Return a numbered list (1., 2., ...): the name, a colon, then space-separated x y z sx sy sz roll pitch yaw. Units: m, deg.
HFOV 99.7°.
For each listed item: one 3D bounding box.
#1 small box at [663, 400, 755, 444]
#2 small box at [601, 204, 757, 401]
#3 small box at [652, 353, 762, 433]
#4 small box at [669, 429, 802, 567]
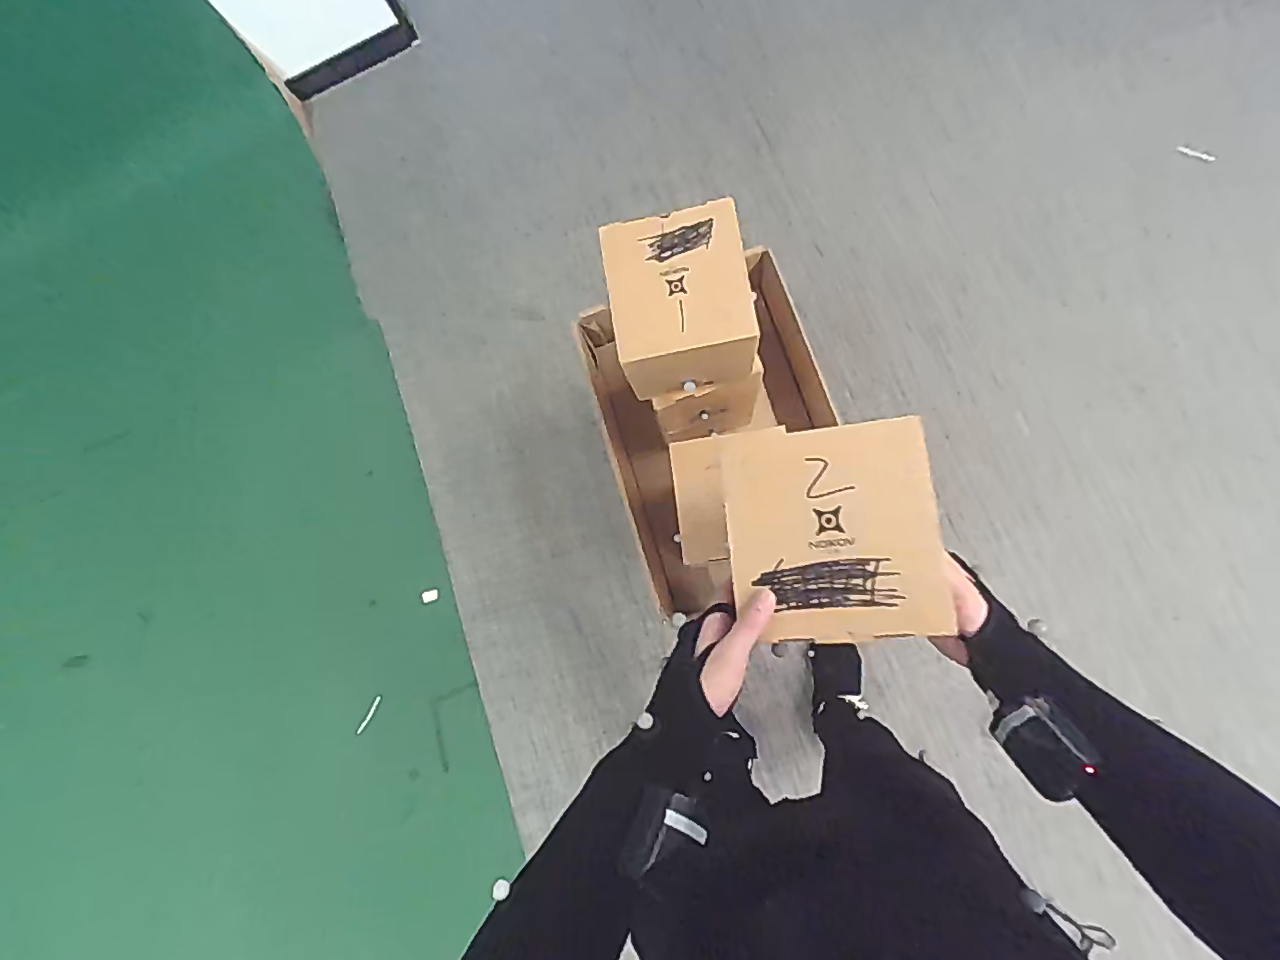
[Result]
1. small box: 0.109 -0.174 1.033 0.168 0.176 0.179 -19 79 7
2. small box: 0.053 -0.221 0.715 0.168 0.176 0.179 -10 82 8
3. small box: 0.084 -0.195 0.874 0.168 0.176 0.179 -19 80 5
4. small box: 0.143 0.038 0.820 0.168 0.176 0.179 -8 78 8
